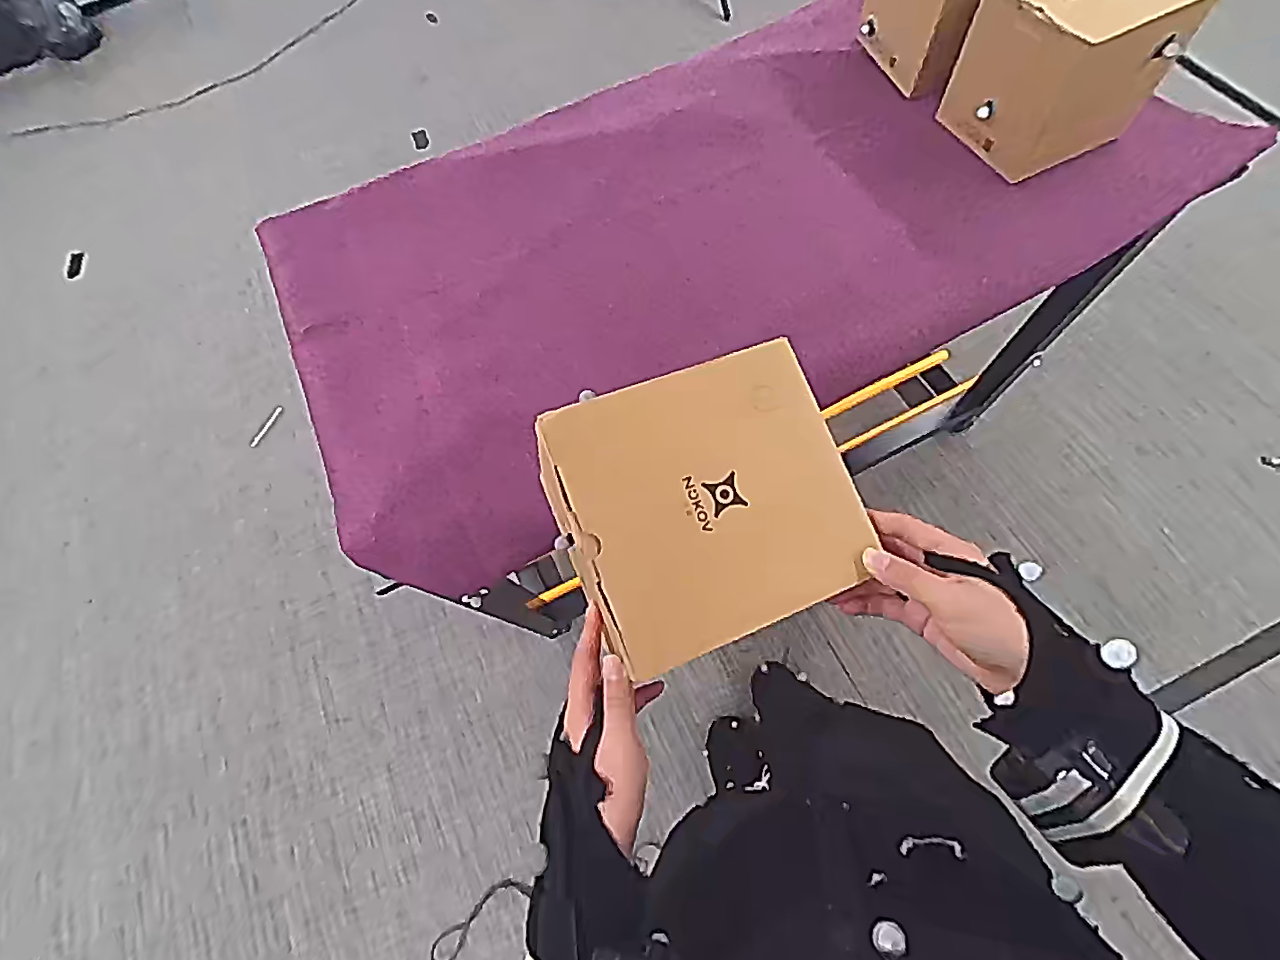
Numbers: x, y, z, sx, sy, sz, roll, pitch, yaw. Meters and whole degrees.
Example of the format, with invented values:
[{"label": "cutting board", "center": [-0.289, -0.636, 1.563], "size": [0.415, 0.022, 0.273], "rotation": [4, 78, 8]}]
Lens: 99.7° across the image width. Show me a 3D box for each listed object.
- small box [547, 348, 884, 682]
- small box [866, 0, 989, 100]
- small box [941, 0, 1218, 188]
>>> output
[{"label": "small box", "center": [0.036, 0.027, 0.410], "size": [0.179, 0.176, 0.168], "rotation": [-20, 82, -12]}, {"label": "small box", "center": [0.444, -0.683, 0.763], "size": [0.179, 0.176, 0.168], "rotation": [-20, 69, -4]}, {"label": "small box", "center": [0.532, -0.519, 0.688], "size": [0.179, 0.176, 0.168], "rotation": [-25, 66, -3]}]
